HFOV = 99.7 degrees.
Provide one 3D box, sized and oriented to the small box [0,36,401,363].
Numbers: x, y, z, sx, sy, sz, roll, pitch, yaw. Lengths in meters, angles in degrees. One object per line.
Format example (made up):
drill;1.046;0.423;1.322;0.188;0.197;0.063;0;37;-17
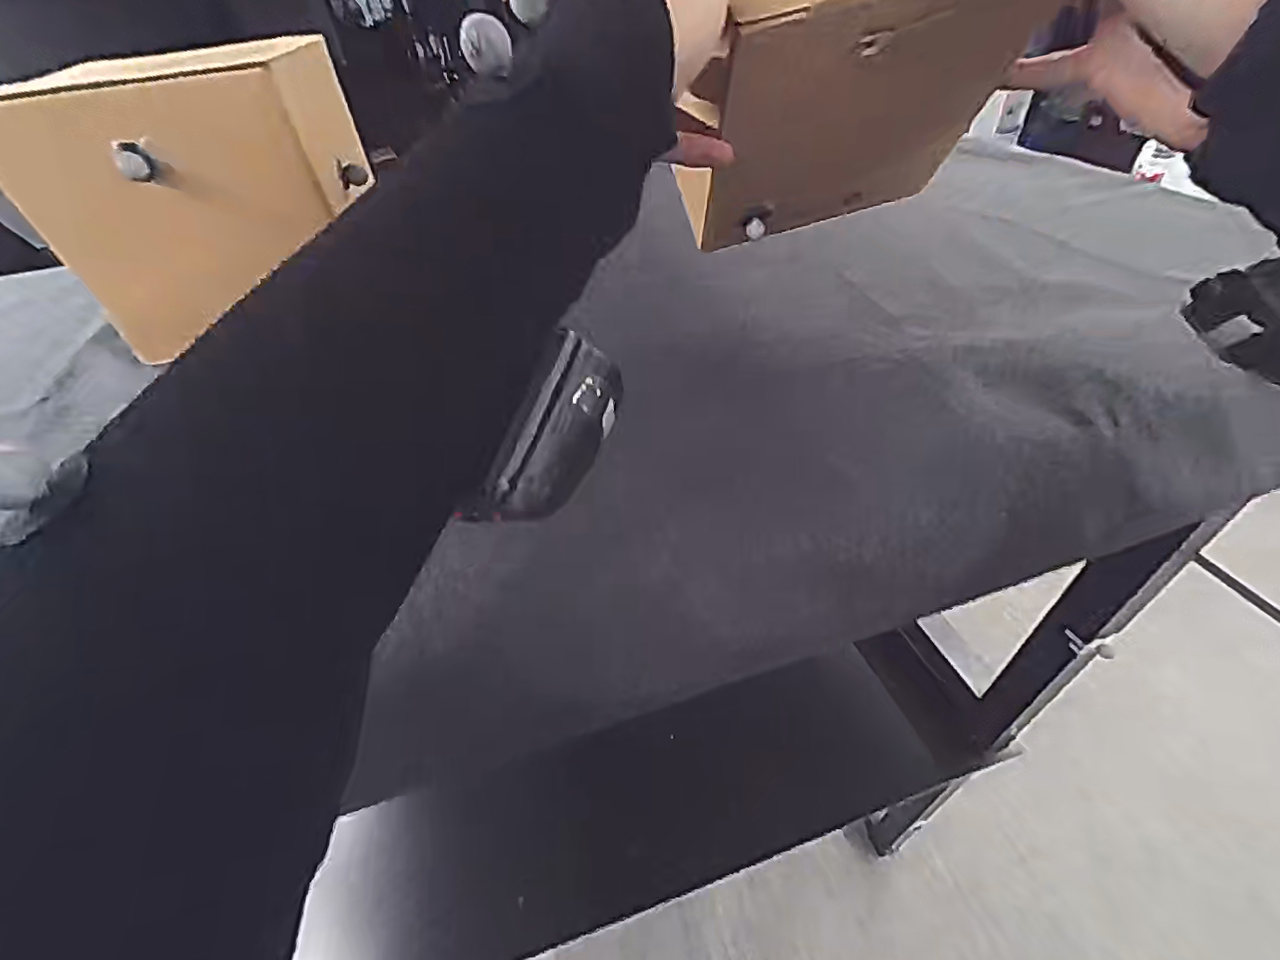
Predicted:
small box;-0.303;-0.212;0.411;0.179;0.176;0.168;-13;45;-6

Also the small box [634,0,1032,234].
small box;0.094;-0.273;0.316;0.168;0.176;0.179;-16;80;-2
